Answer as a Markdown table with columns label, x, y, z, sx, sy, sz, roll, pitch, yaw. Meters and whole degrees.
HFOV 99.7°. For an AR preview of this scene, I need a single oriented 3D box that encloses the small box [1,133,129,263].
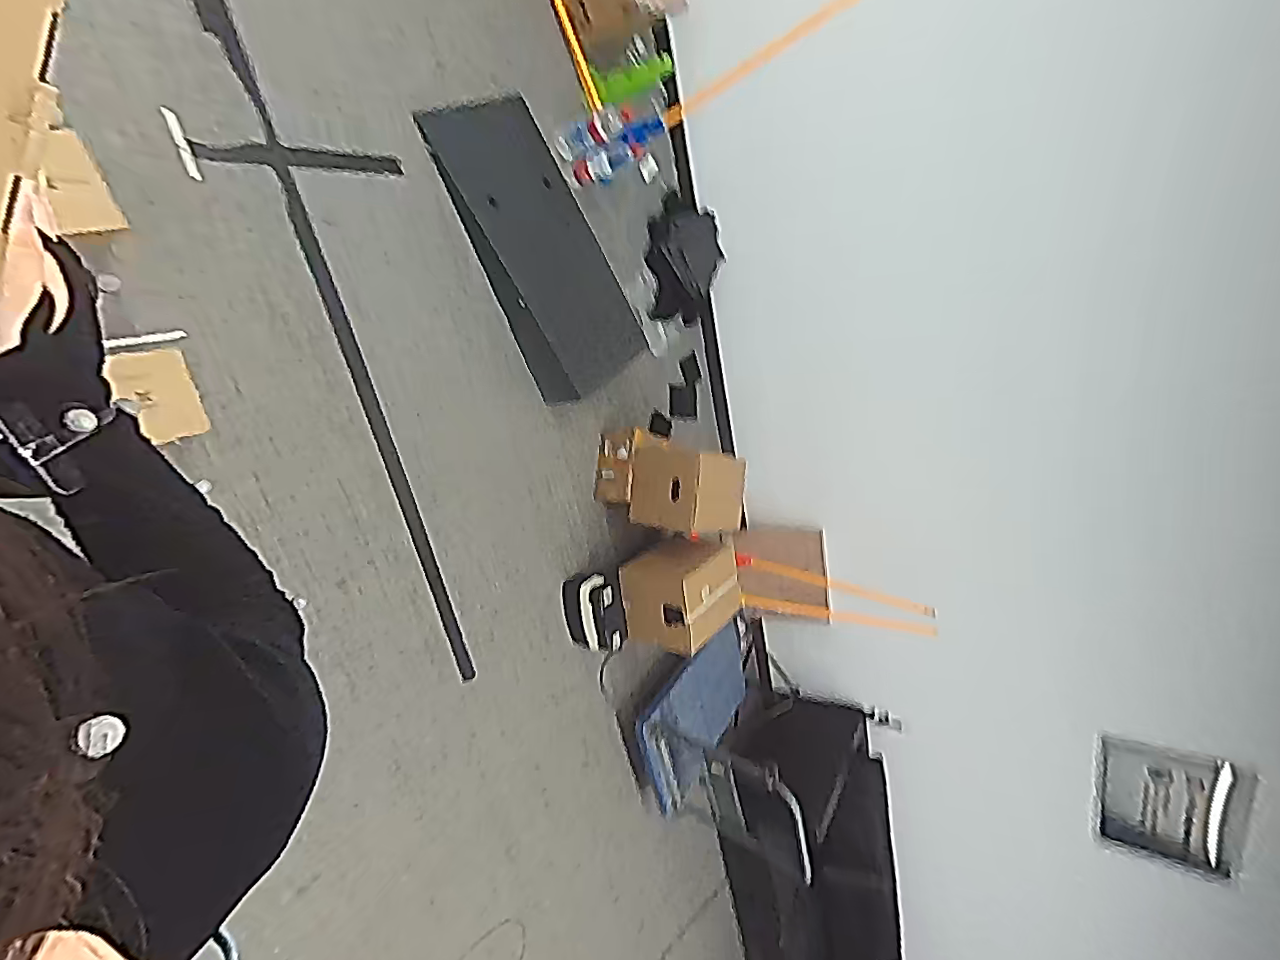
| label | x | y | z | sx | sy | sz | roll | pitch | yaw |
| --- | --- | --- | --- | --- | --- | --- | --- | --- | --- |
| small box | -1.077 | -0.498 | 0.963 | 0.179 | 0.176 | 0.168 | -39 | 123 | -45 |

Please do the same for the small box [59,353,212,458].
| label | x | y | z | sx | sy | sz | roll | pitch | yaw |
| --- | --- | --- | --- | --- | --- | --- | --- | --- | --- |
| small box | -1.006 | -0.149 | 1.081 | 0.168 | 0.176 | 0.179 | -28 | 114 | -49 |
